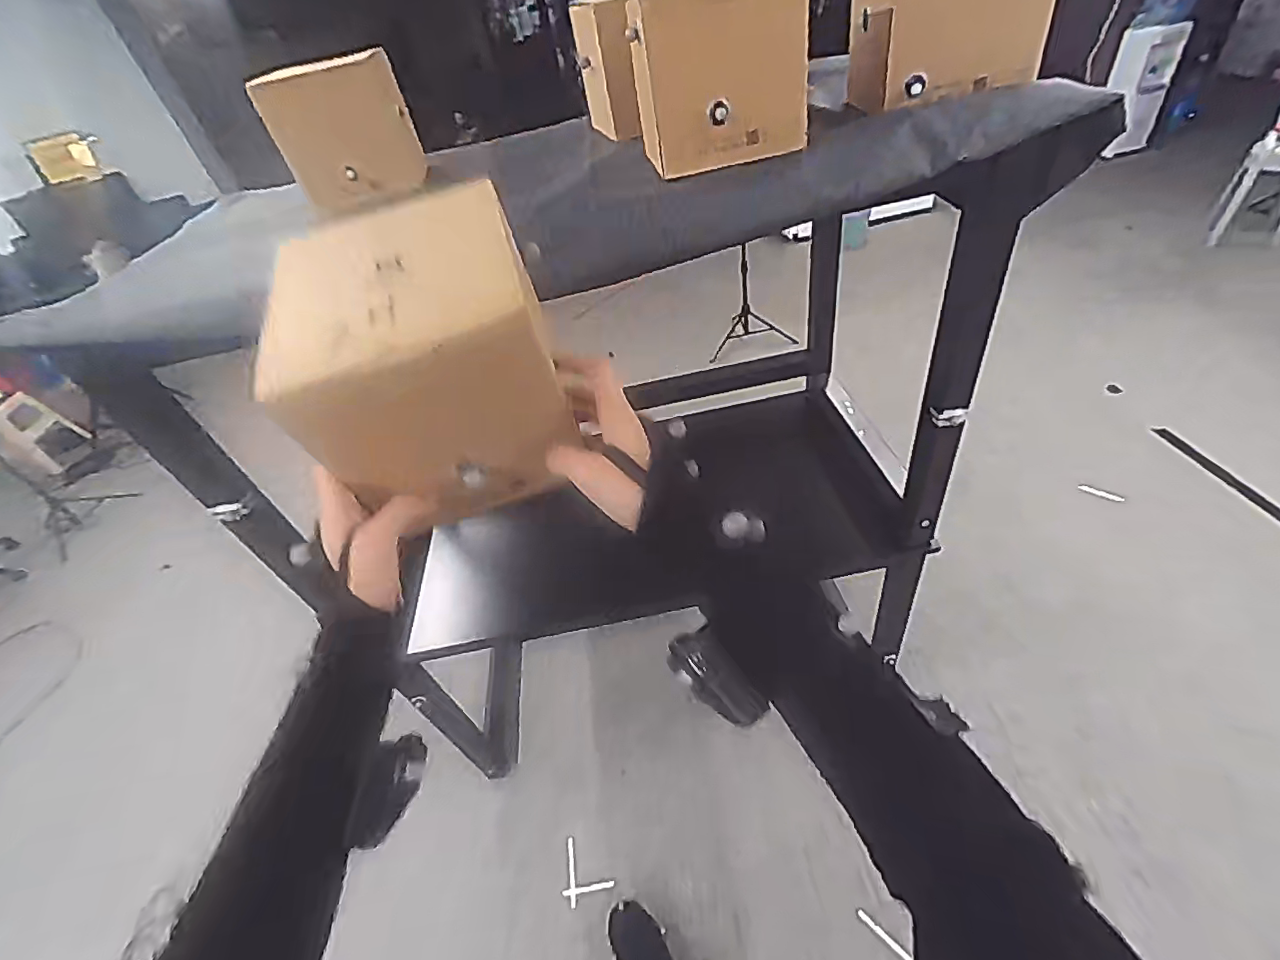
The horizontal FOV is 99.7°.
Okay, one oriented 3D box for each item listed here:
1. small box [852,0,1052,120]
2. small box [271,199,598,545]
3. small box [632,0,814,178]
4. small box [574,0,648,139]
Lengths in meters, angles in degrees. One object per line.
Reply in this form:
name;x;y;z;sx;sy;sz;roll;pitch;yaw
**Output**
small box;0.356;-0.541;0.633;0.168;0.176;0.179;-6;41;9
small box;-0.144;-0.078;0.424;0.168;0.176;0.179;-19;55;-2
small box;0.090;-0.468;0.626;0.168;0.176;0.179;-12;41;2
small box;0.007;-0.654;0.848;0.168;0.176;0.179;-19;42;-5
